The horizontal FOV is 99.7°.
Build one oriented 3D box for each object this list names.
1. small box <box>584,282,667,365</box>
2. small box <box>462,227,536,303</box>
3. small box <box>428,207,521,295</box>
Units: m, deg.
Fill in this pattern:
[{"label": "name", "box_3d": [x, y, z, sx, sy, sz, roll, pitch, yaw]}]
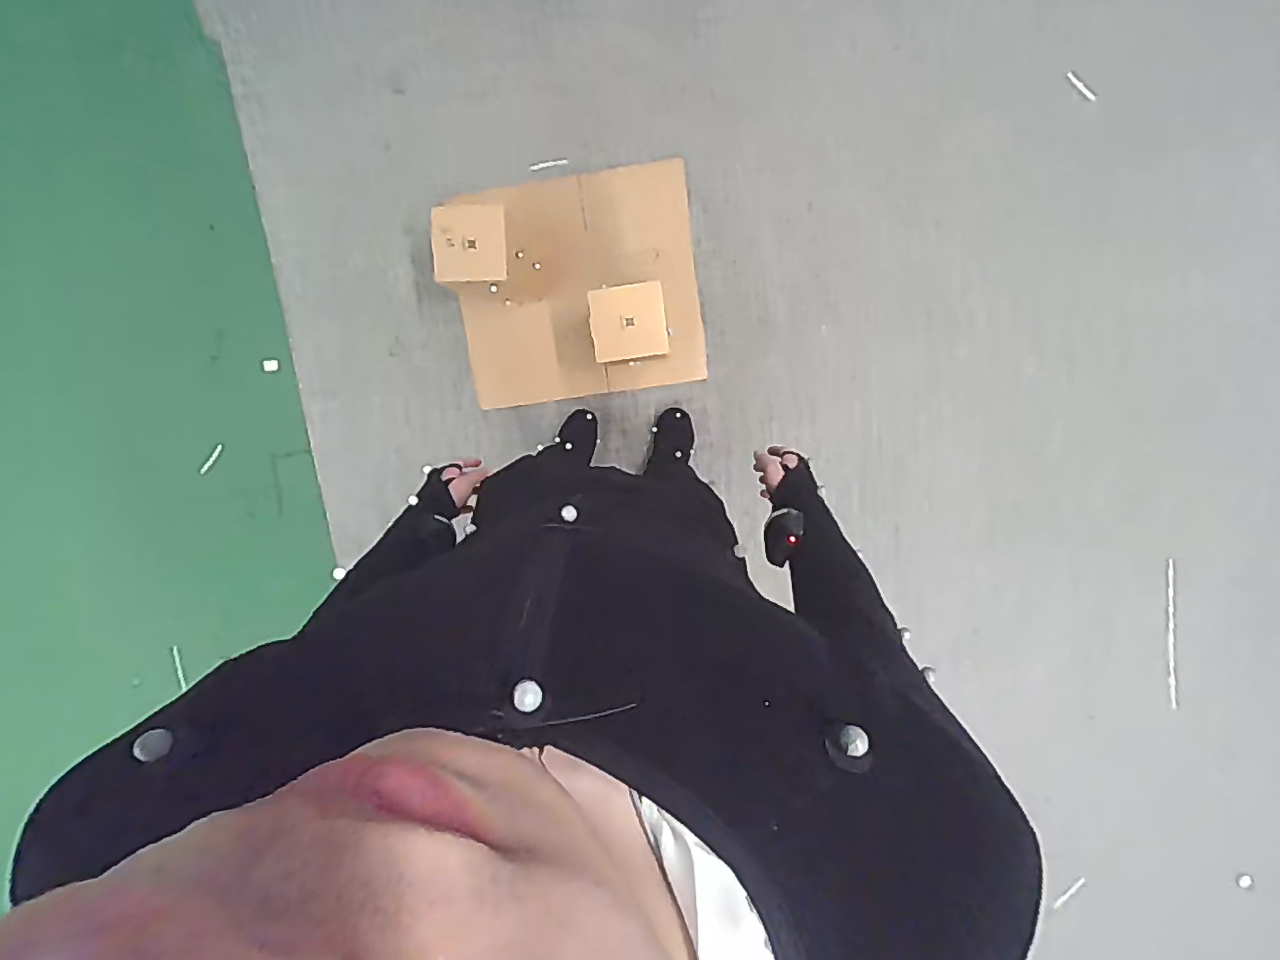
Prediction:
[{"label": "small box", "box_3d": [-0.028, -0.376, 1.324, 0.179, 0.176, 0.168, -7, 100, 6]}, {"label": "small box", "box_3d": [-0.385, -0.581, 1.474, 0.179, 0.176, 0.168, 1, 99, 3]}, {"label": "small box", "box_3d": [-0.391, -0.549, 1.311, 0.179, 0.176, 0.168, 0, 99, 4]}]
